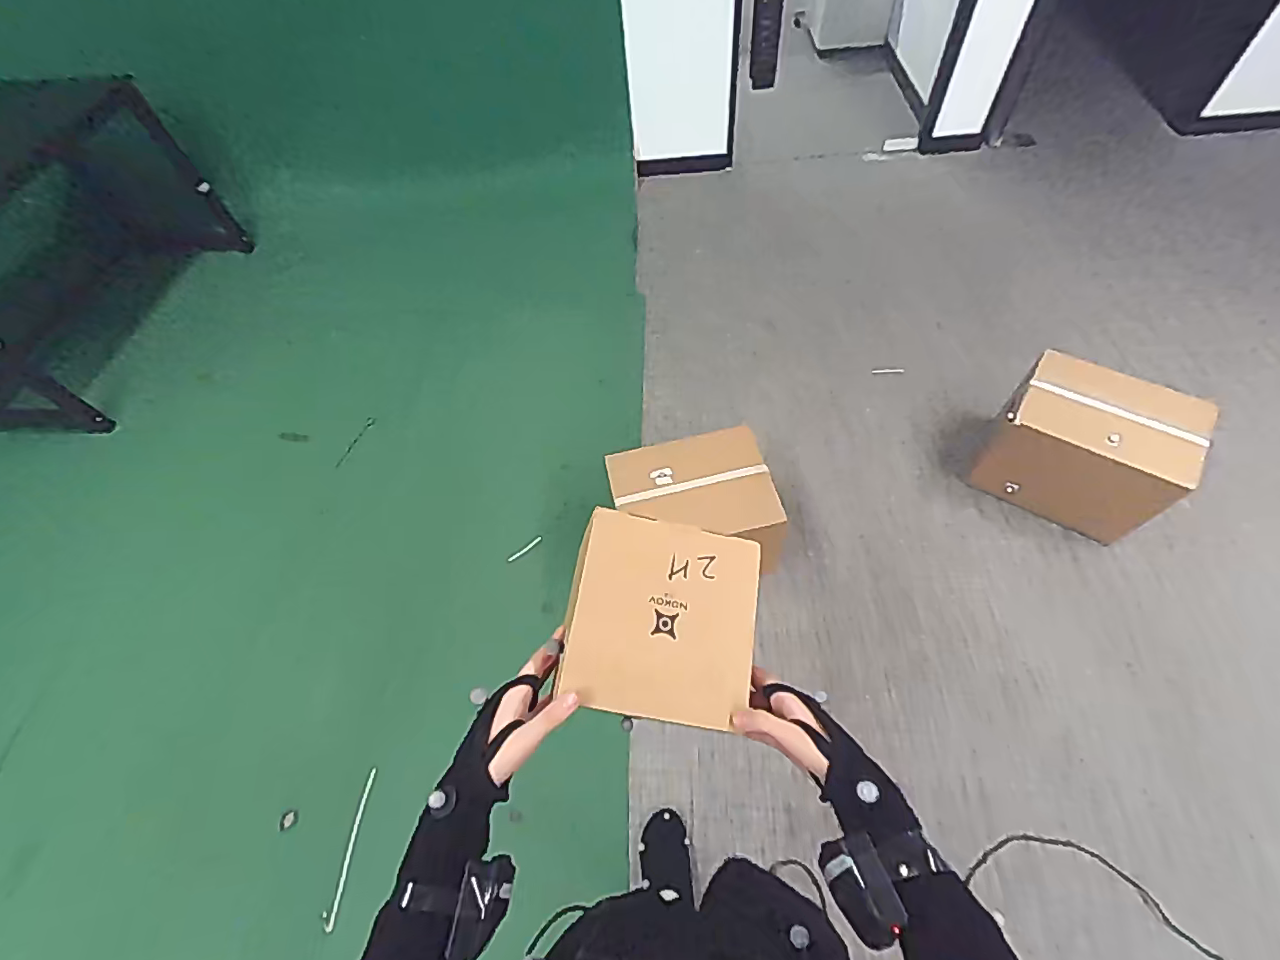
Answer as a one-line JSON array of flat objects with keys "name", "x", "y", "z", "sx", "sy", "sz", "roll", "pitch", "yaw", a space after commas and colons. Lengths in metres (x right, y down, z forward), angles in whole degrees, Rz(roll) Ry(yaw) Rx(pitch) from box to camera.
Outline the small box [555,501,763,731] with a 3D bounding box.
[{"name": "small box", "x": 0.011, "y": 0.145, "z": 0.552, "sx": 0.168, "sy": 0.176, "sz": 0.179, "roll": 13, "pitch": 65, "yaw": -7}]

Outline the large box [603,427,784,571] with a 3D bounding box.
[{"name": "large box", "x": 0.140, "y": 0.105, "z": 1.500, "sx": 0.408, "sy": 0.320, "sz": 0.320, "roll": -13, "pitch": 56, "yaw": -2}]
